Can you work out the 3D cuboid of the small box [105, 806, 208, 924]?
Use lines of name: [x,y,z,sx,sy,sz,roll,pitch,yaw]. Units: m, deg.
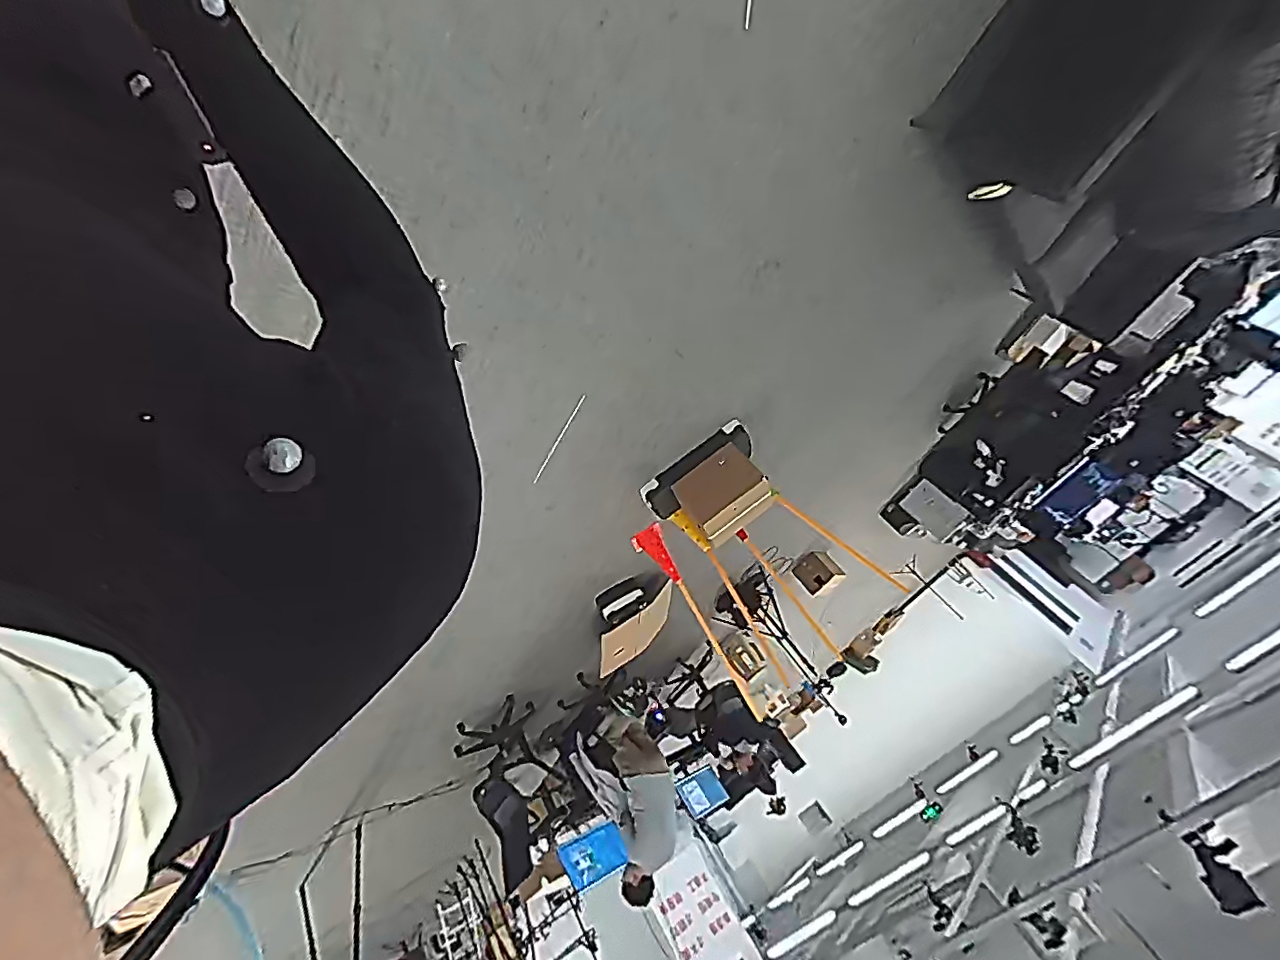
small box: [-1.245,0.984,1.396,0.179,0.176,0.168,-9,137,-36]
